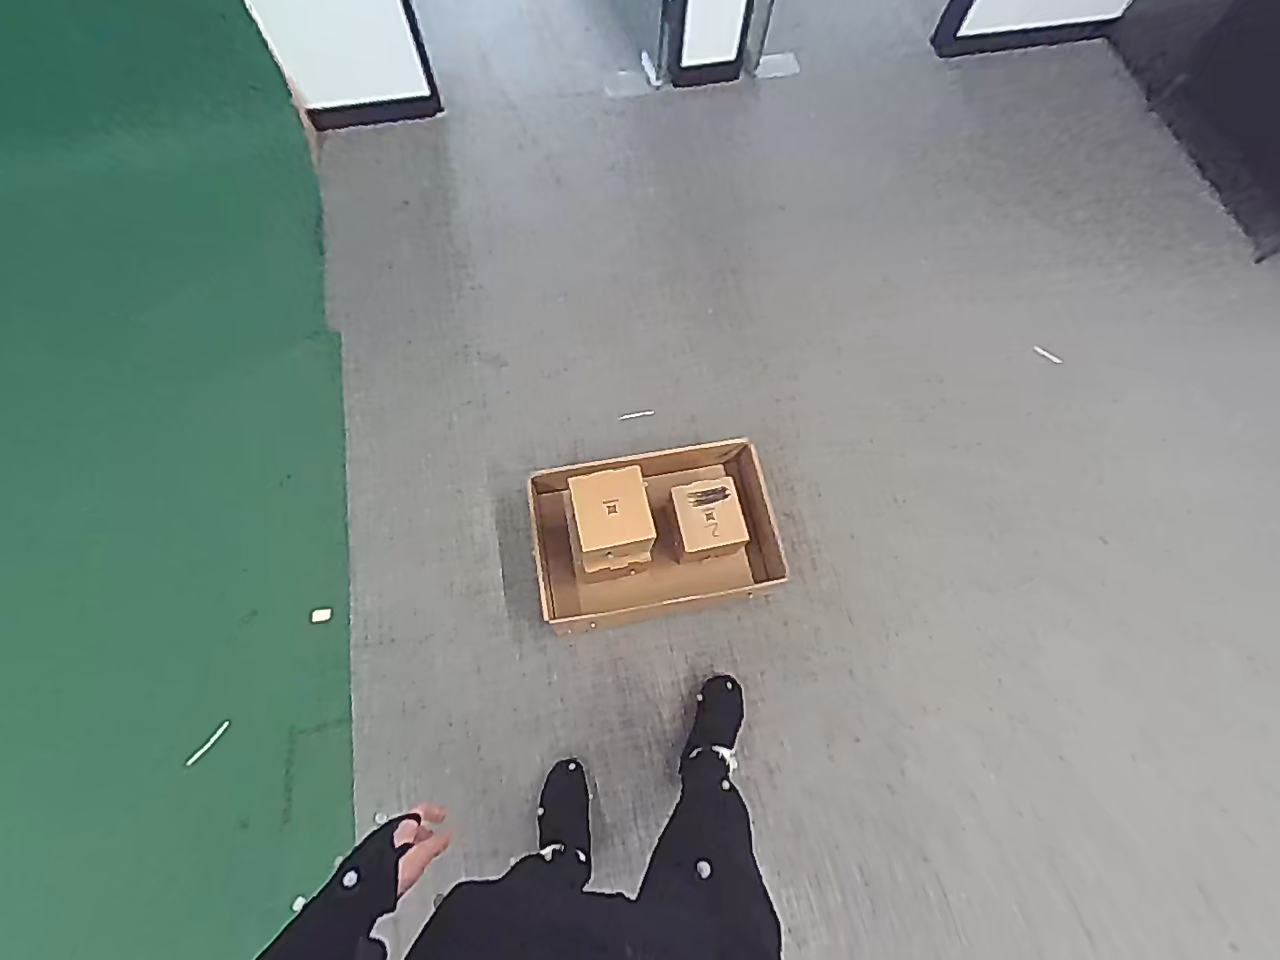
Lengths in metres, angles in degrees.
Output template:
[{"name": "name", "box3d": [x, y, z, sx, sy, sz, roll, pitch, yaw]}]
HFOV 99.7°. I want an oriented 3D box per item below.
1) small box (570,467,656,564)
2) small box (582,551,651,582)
[{"name": "small box", "box3d": [-0.065, 0.091, 1.264, 0.168, 0.176, 0.179, -11, 70, -8]}, {"name": "small box", "box3d": [-0.070, 0.162, 1.410, 0.168, 0.176, 0.179, -10, 70, -8]}]
